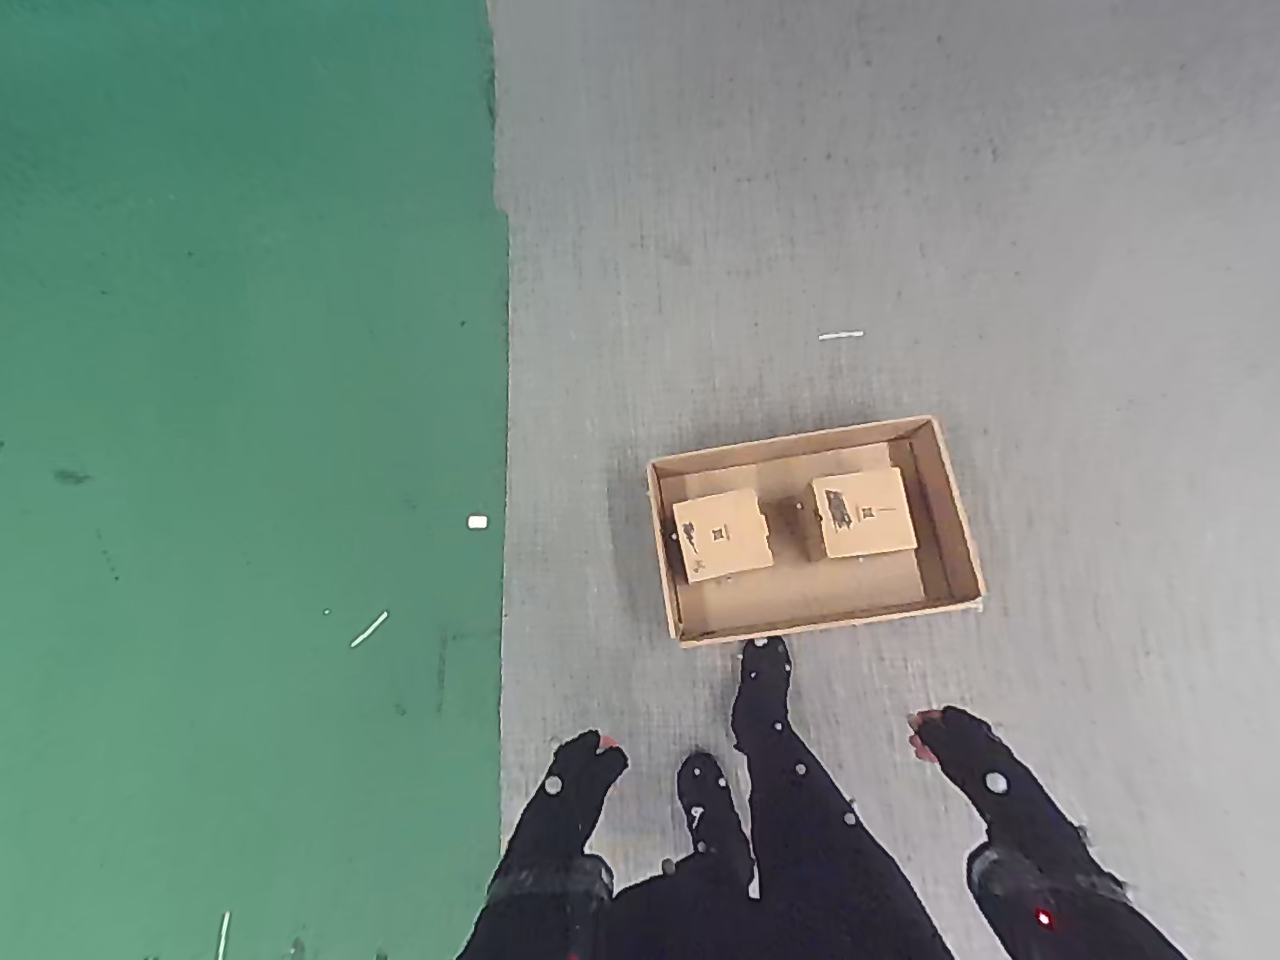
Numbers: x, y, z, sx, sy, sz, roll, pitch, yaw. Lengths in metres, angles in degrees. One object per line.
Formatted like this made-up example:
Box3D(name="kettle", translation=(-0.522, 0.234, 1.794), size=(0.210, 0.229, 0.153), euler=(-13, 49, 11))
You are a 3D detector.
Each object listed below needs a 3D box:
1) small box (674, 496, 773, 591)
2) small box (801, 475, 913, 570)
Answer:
Box3D(name="small box", translation=(0.173, 0.144, 1.174), size=(0.179, 0.176, 0.168), euler=(-12, 75, 2))
Box3D(name="small box", translation=(0.449, 0.098, 1.154), size=(0.179, 0.176, 0.168), euler=(-8, 76, 5))
